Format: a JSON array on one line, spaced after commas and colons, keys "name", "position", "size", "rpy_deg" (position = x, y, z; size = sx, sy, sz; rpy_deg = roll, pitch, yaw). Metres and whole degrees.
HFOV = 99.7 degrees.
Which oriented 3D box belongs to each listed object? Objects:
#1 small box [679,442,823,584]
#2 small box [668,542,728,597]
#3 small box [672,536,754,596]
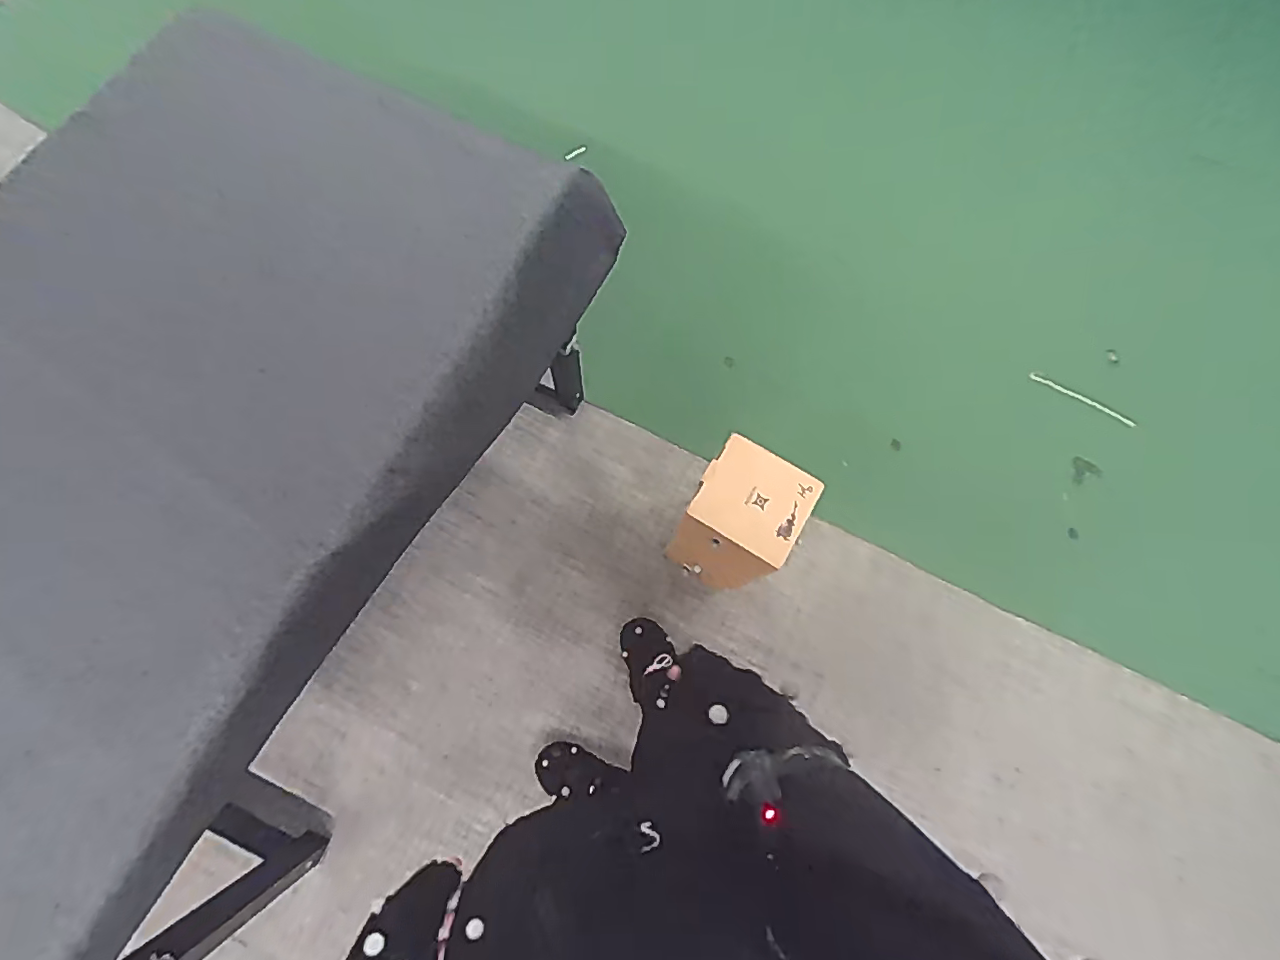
[{"name": "small box", "position": [0.182, 0.067, 0.946], "size": [0.179, 0.176, 0.168], "rpy_deg": [31, 74, 8]}, {"name": "small box", "position": [0.176, 0.155, 1.262], "size": [0.168, 0.176, 0.179], "rpy_deg": [34, 76, 7]}, {"name": "small box", "position": [0.178, 0.116, 1.101], "size": [0.168, 0.176, 0.179], "rpy_deg": [33, 75, 7]}]
